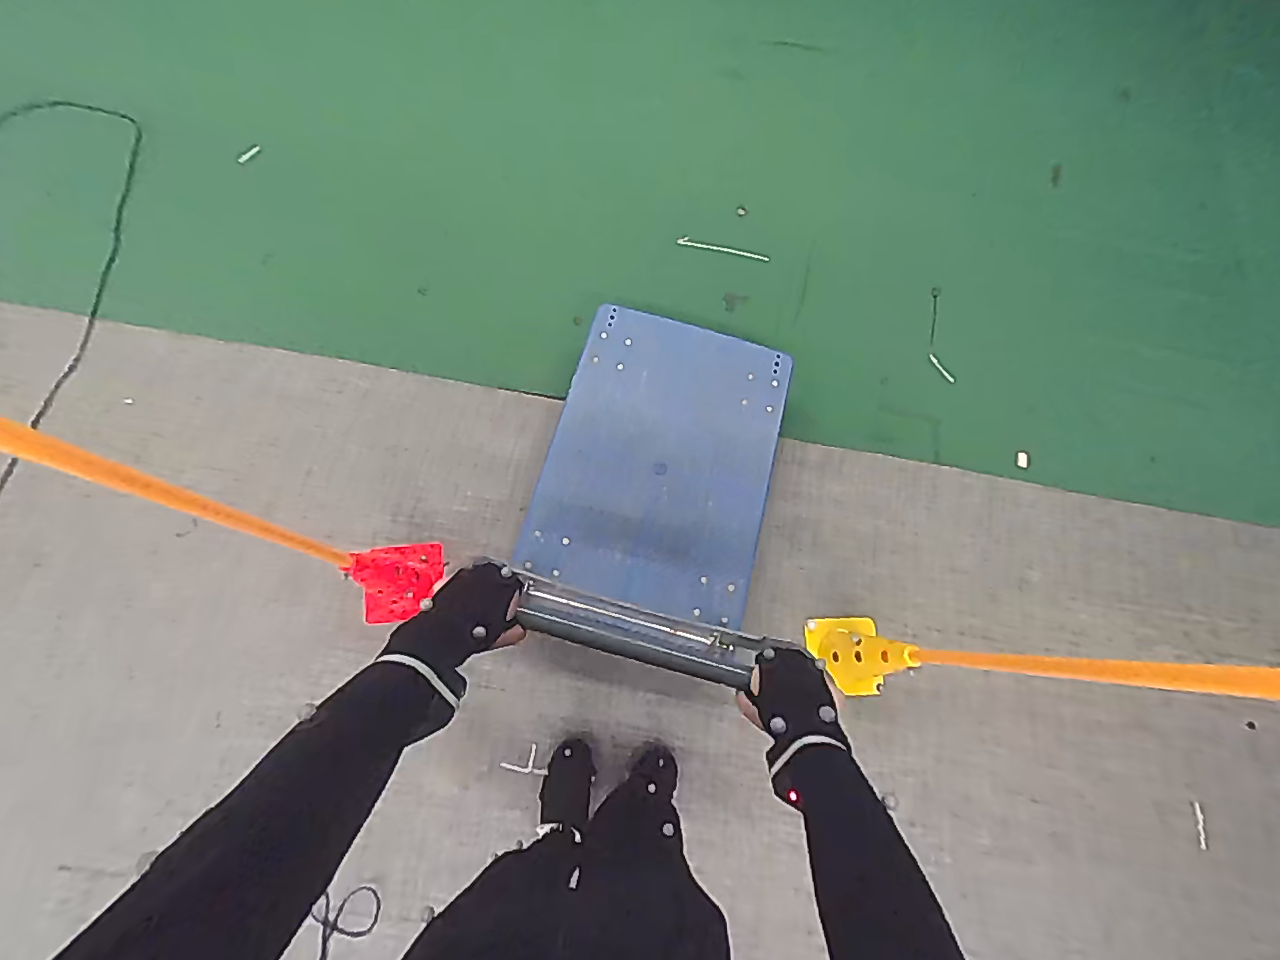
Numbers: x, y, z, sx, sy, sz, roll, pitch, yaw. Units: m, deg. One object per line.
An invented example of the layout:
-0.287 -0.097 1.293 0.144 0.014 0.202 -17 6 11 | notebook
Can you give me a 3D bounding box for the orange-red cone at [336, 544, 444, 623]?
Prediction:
-0.608 0.216 1.254 0.199 0.360 0.198 -4 73 -5 | orange-red cone
